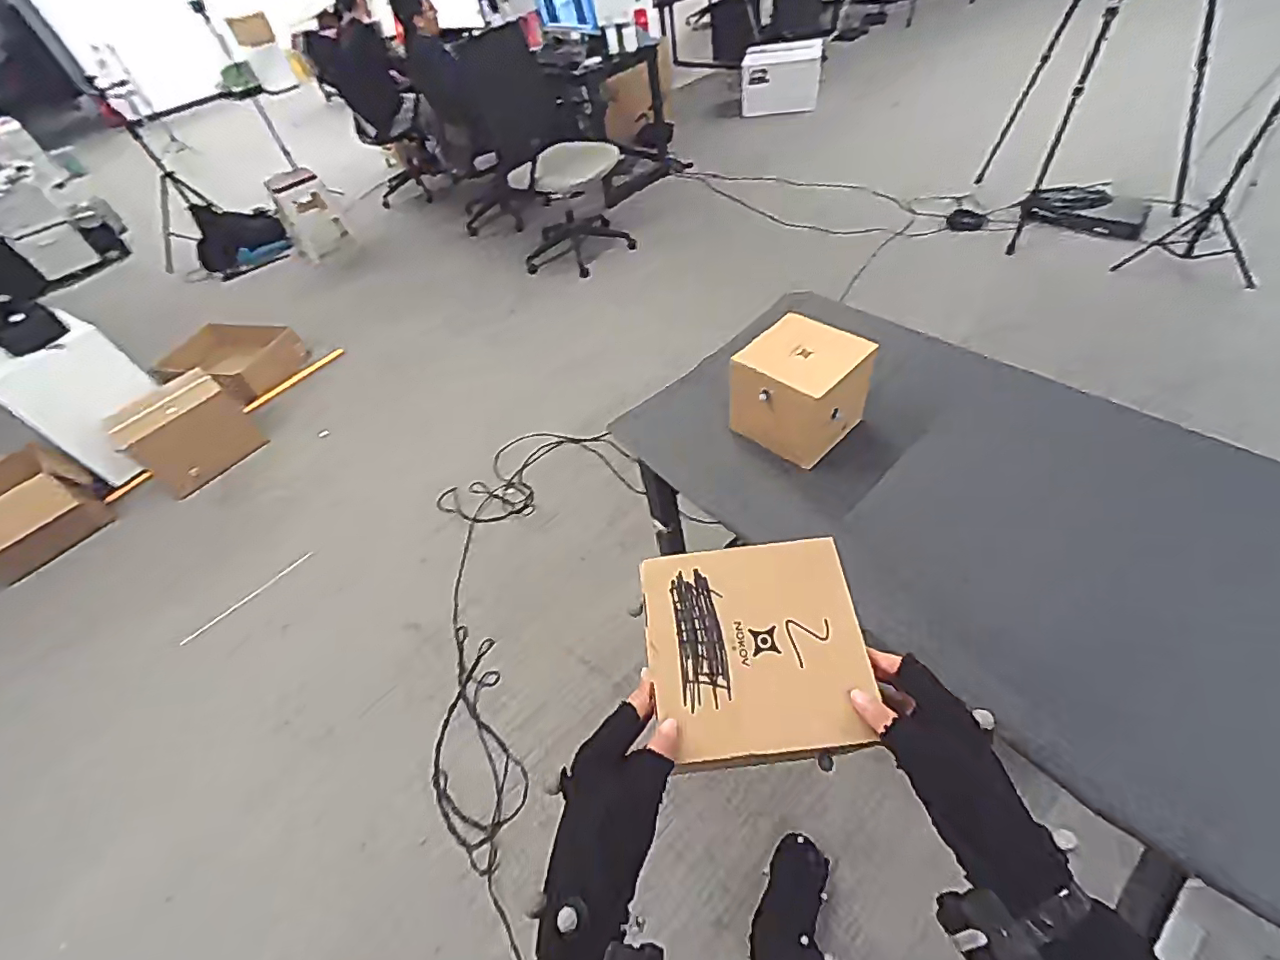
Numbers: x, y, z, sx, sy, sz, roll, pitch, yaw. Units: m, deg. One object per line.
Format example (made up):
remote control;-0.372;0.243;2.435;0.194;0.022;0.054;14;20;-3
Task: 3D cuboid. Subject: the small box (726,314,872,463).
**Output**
small box;0.271;-0.154;0.942;0.168;0.176;0.179;-40;53;-22
